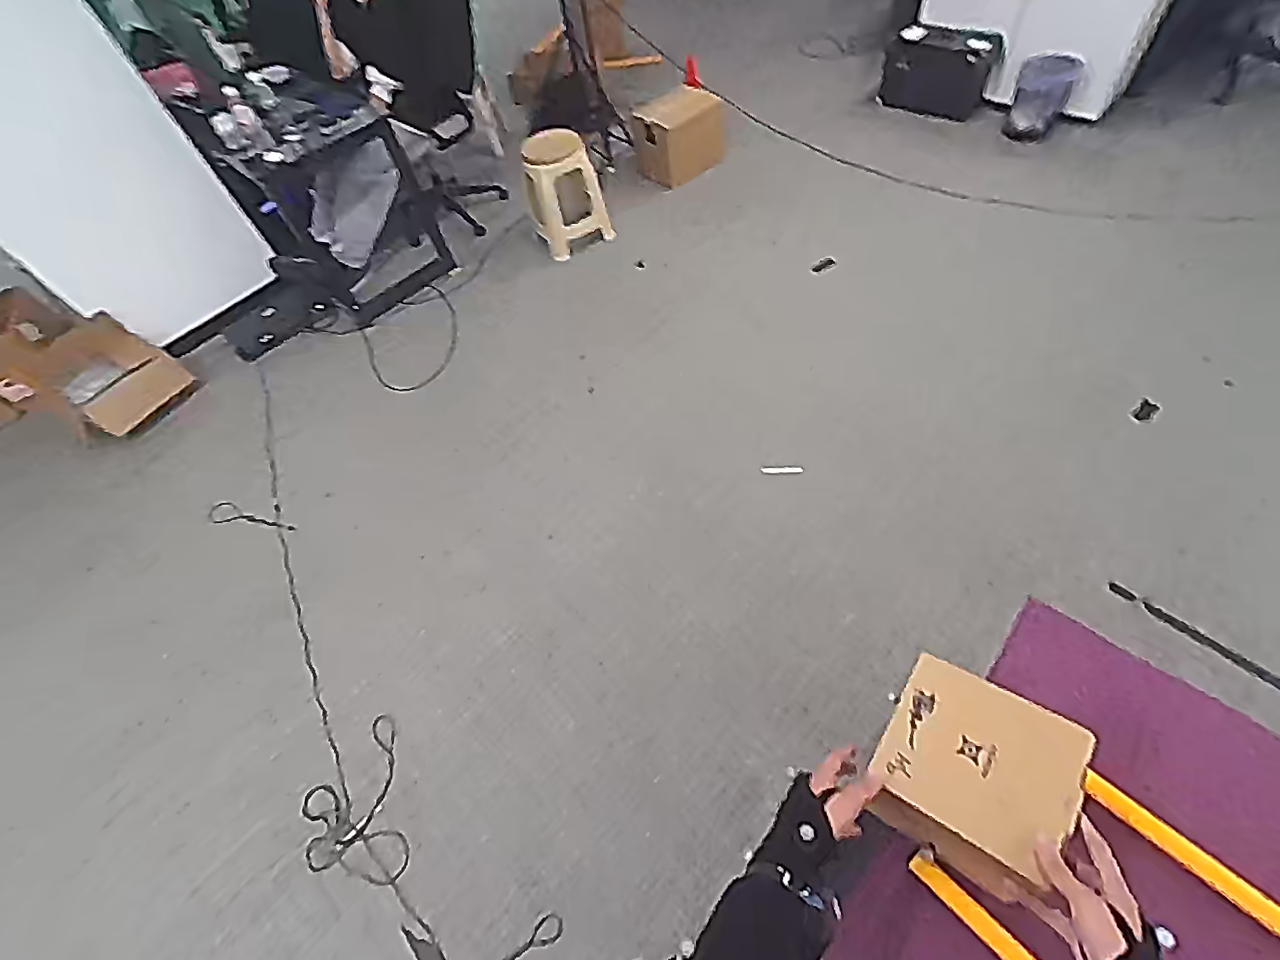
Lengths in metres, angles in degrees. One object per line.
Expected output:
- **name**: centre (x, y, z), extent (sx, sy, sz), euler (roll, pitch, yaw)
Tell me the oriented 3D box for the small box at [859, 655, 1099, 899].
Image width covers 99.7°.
- **small box**: centre (0.377, 0.343, 0.631), extent (0.179, 0.176, 0.168), euler (25, 63, 32)
